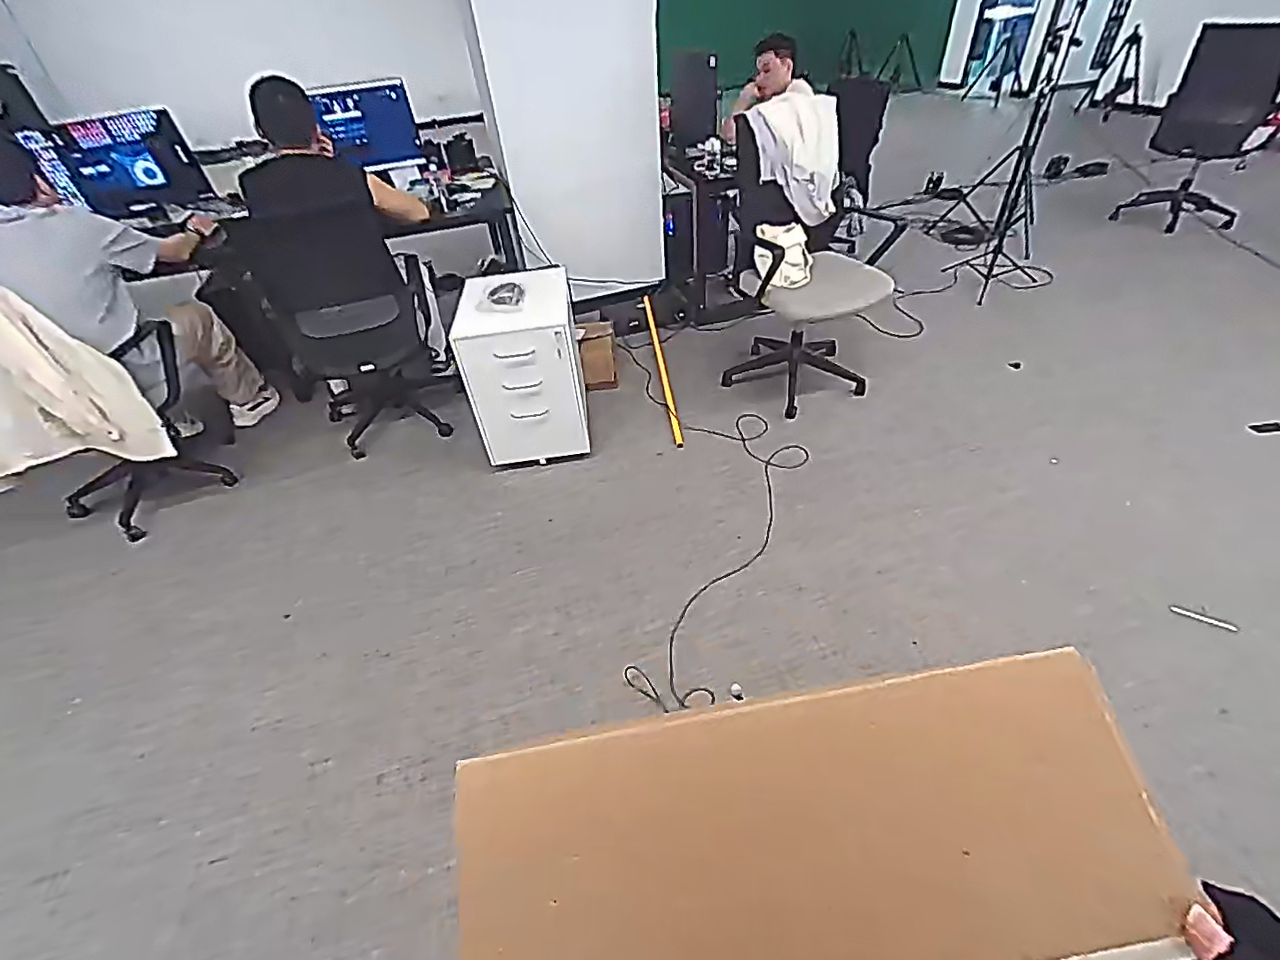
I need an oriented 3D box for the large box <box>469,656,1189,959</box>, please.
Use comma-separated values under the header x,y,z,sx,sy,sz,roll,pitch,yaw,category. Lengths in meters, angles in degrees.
x,y,z,sx,sy,sz,roll,pitch,yaw,category
0.120,0.347,0.439,0.408,0.320,0.320,-11,67,0,large box
